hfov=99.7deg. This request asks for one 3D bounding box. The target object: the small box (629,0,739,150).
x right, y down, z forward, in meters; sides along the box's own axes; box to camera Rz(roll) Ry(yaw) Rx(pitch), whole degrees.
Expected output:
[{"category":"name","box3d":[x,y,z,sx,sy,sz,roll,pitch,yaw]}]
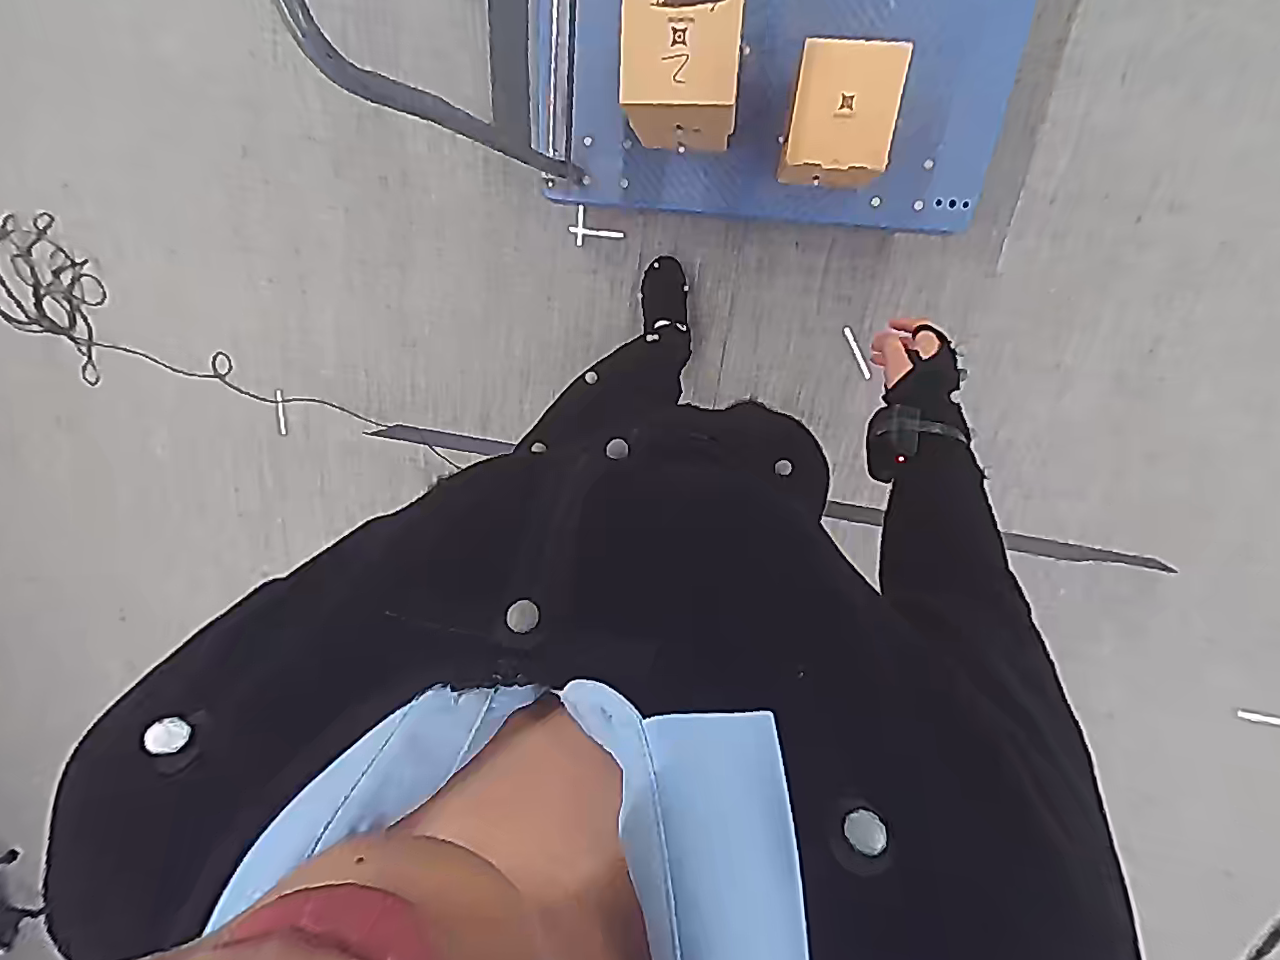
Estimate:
[{"category":"small box","box3d":[0.080,-0.704,0.954,0.168,0.176,0.179,7,112,7]}]

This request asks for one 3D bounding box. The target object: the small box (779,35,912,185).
[{"category":"small box","box3d":[0.342,-0.631,0.941,0.168,0.176,0.179,8,111,6]}]
